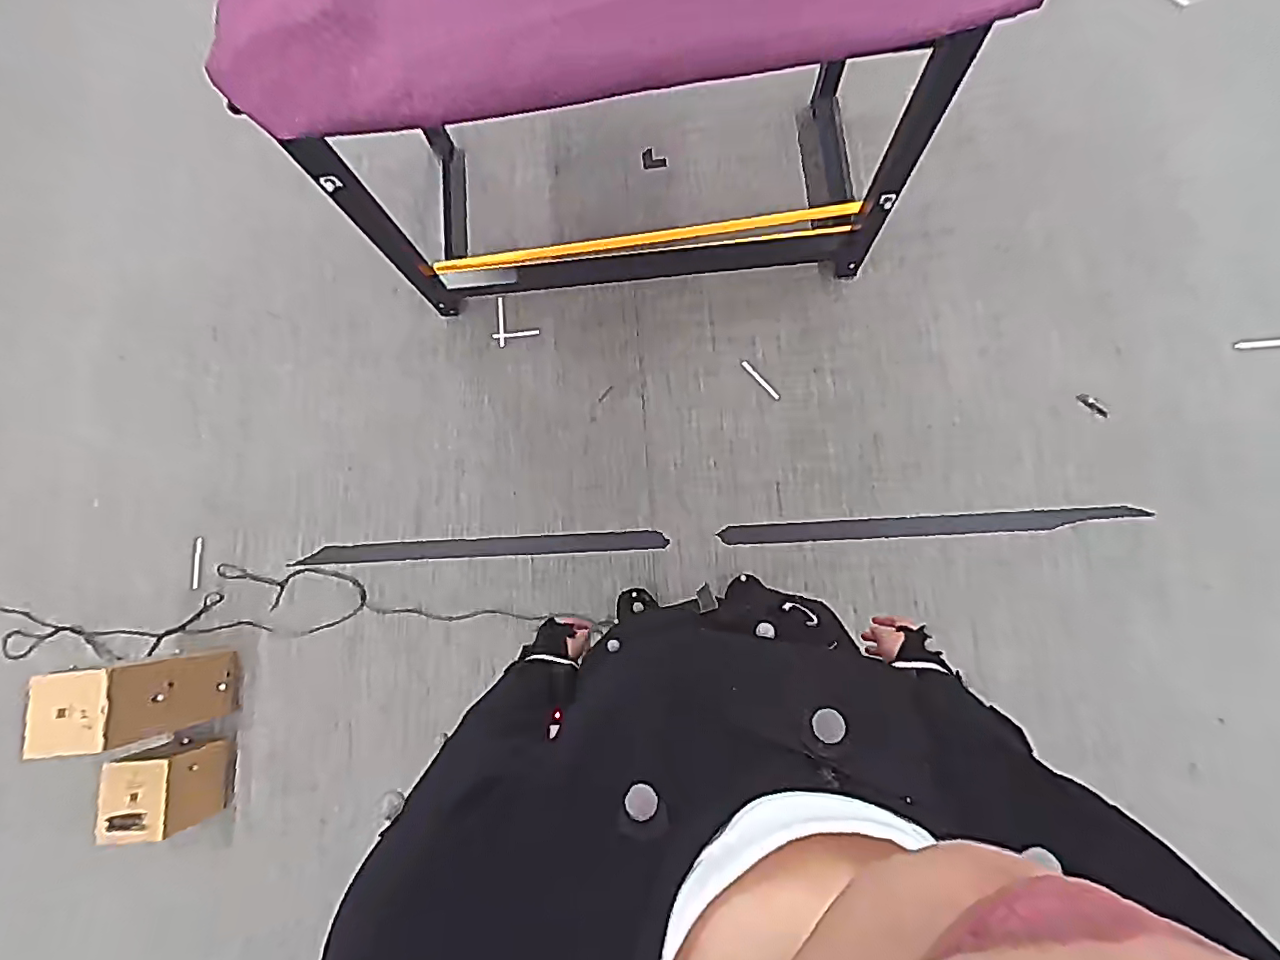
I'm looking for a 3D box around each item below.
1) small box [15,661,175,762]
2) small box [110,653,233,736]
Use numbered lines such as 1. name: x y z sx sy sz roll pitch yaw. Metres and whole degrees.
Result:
1. small box: -1.172 0.495 1.174 0.179 0.176 0.168 -6 80 2
2. small box: -1.161 0.526 1.336 0.179 0.176 0.168 -4 80 2
